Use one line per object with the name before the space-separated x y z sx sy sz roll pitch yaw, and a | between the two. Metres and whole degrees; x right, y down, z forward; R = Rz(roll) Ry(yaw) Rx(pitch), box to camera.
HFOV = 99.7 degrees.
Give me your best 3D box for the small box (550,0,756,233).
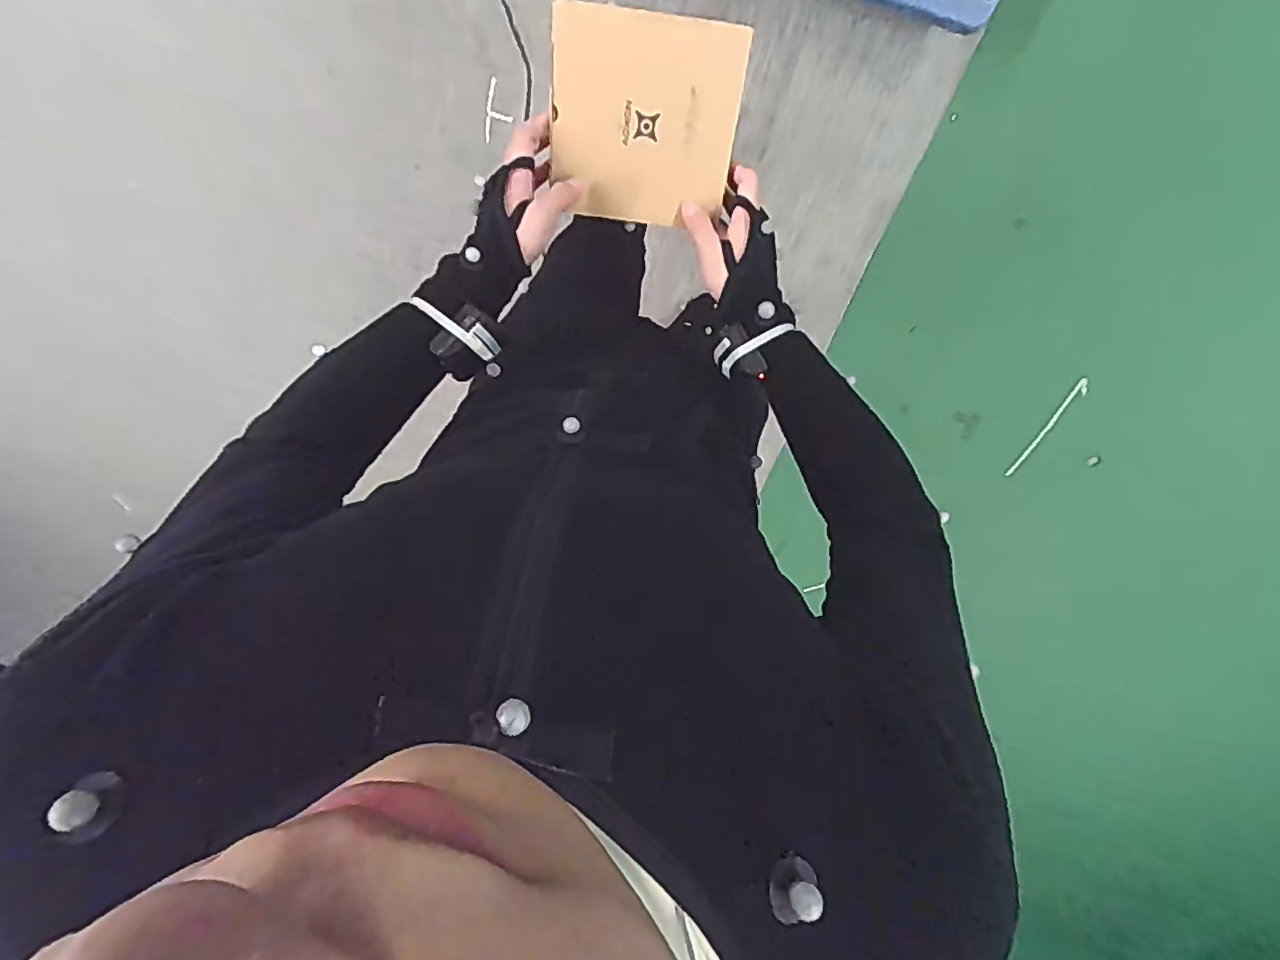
small box | 0.009 -0.374 0.575 0.179 0.176 0.168 8 123 -2
